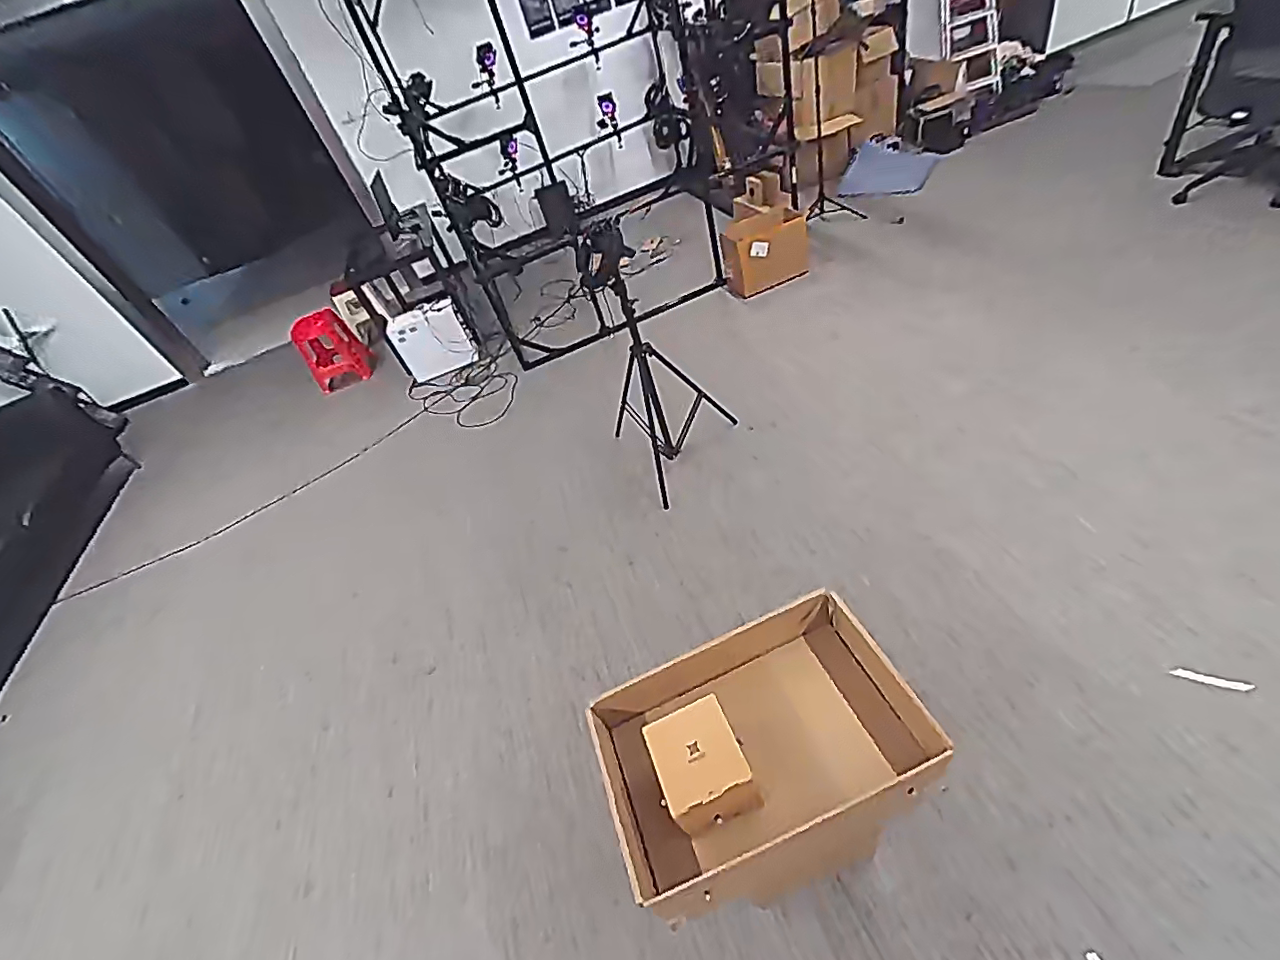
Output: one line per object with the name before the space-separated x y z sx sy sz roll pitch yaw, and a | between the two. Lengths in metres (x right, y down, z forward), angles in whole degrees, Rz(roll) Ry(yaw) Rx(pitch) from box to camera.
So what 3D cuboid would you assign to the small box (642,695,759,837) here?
small box | 0.124 0.580 1.095 0.168 0.176 0.179 -25 43 -4
